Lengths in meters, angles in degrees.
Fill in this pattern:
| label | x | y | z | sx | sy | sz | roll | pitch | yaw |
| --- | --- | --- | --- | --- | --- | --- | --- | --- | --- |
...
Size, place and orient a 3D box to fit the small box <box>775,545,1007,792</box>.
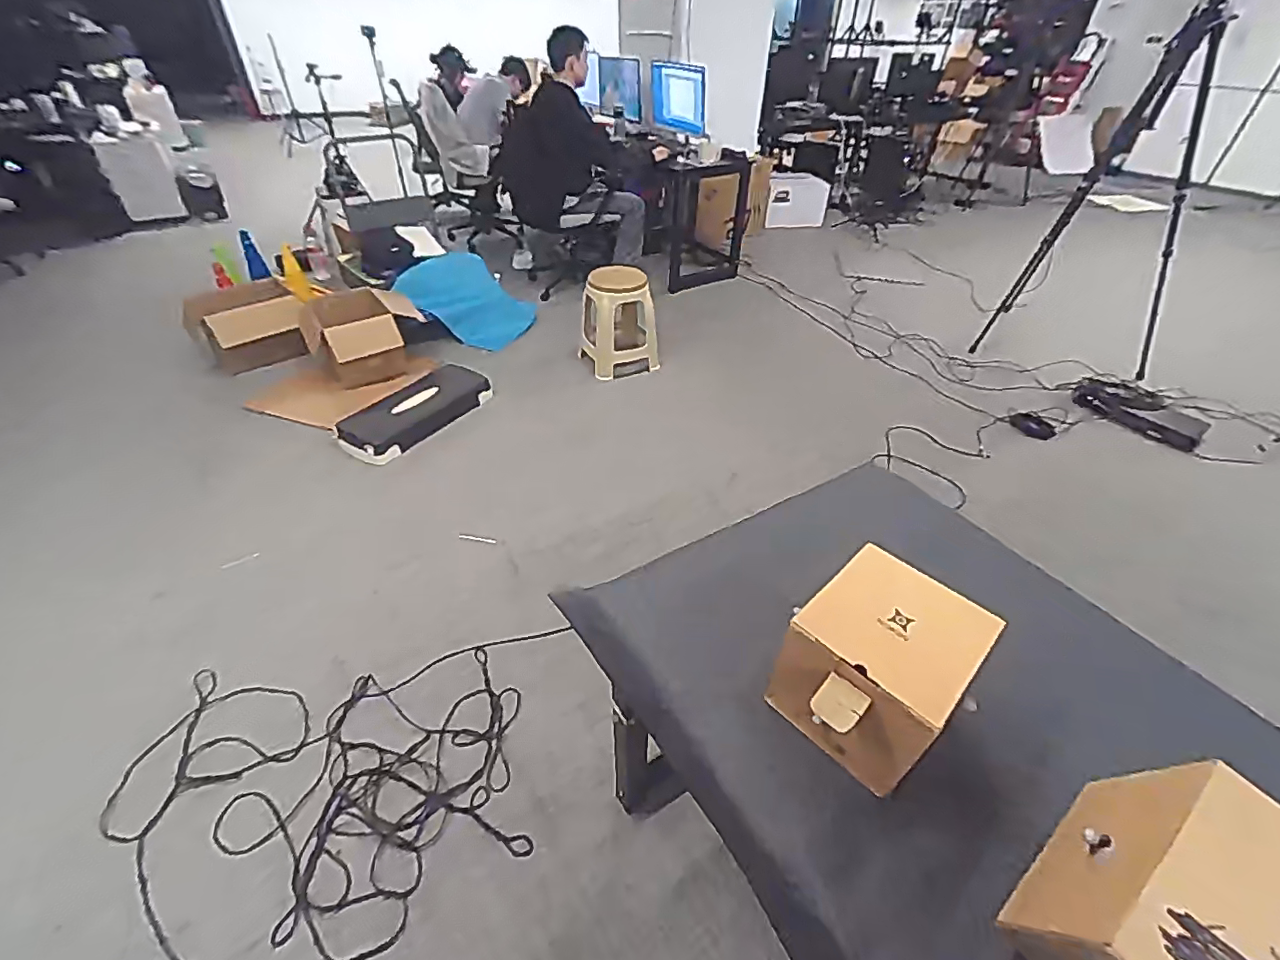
| label | x | y | z | sx | sy | sz | roll | pitch | yaw |
| --- | --- | --- | --- | --- | --- | --- | --- | --- | --- |
| small box | 0.281 | 0.217 | 0.637 | 0.179 | 0.176 | 0.168 | -31 | 50 | -33 |
